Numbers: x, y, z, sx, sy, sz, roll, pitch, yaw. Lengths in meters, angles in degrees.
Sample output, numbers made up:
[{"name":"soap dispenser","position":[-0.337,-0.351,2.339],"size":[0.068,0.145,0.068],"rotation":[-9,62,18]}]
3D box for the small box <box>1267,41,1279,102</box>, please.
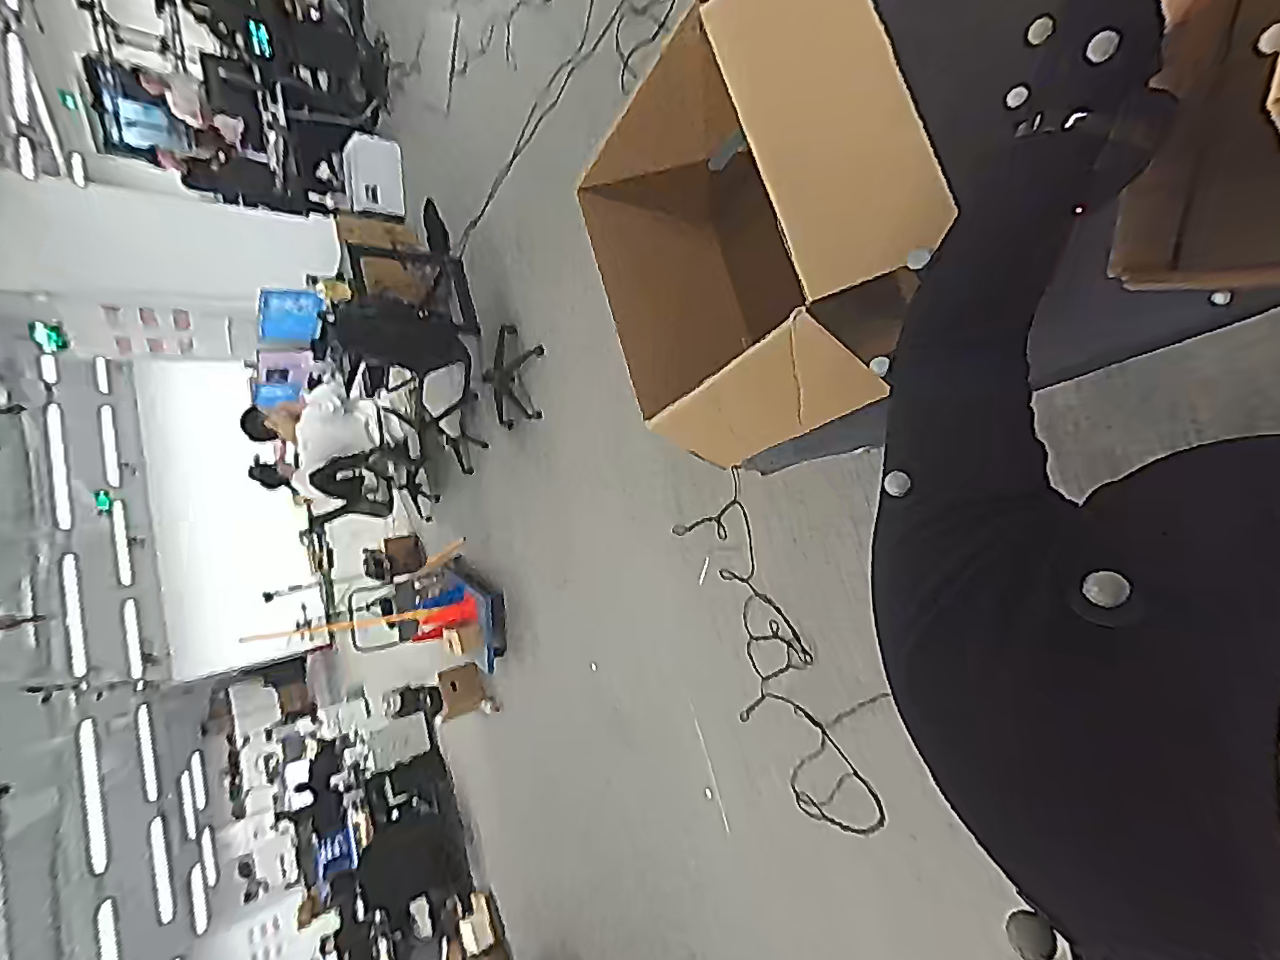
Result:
[{"name":"small box","position":[0.377,-0.232,0.186],"size":[0.179,0.176,0.168],"rotation":[18,118,48]}]
